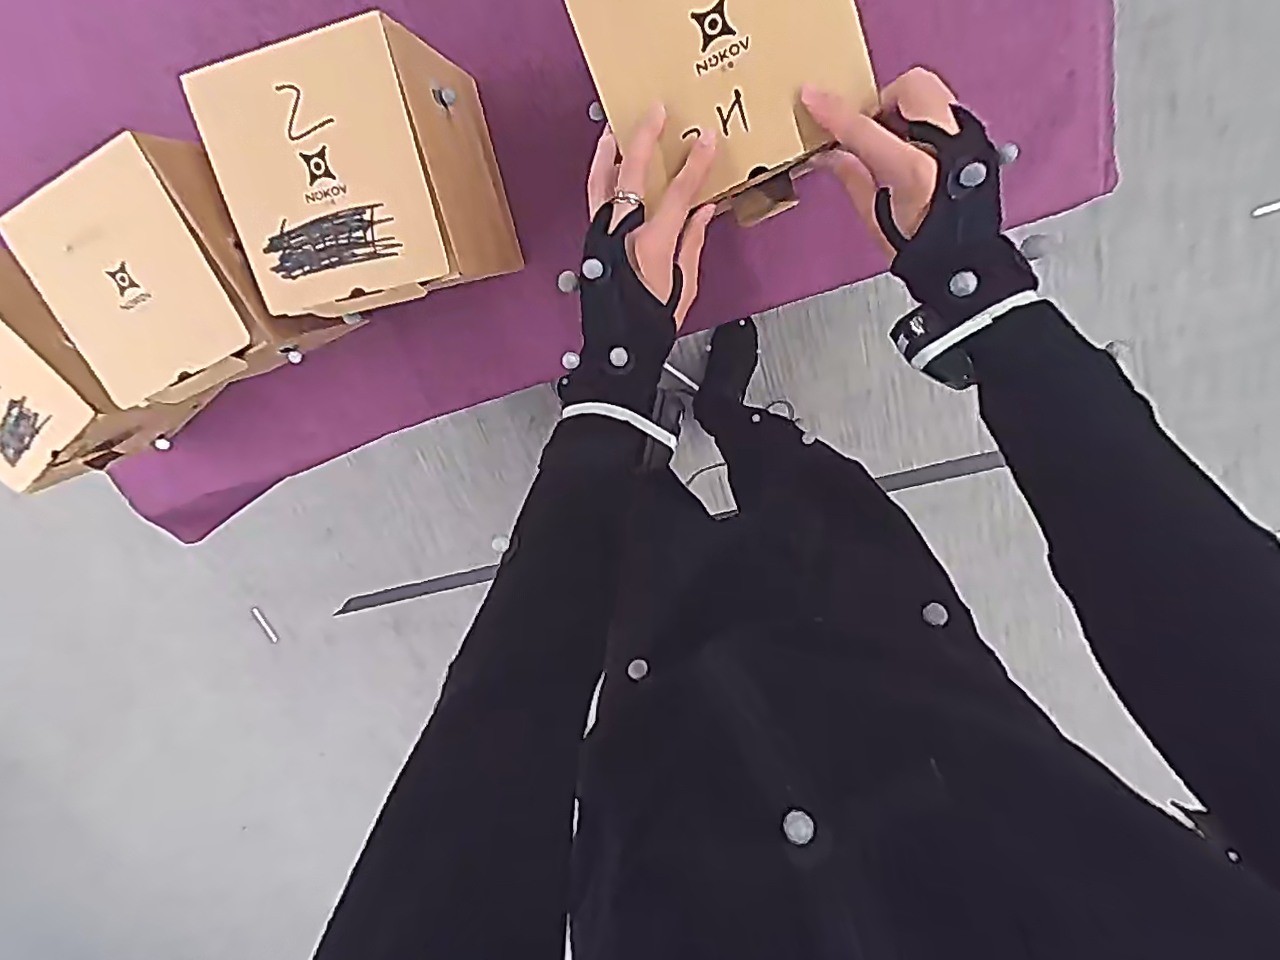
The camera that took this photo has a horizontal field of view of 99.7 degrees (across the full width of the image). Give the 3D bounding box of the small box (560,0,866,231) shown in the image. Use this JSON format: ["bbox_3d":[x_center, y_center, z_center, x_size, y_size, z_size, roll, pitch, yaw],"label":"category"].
[{"bbox_3d":[0.054,-0.315,0.425,0.168,0.176,0.179,-19,110,15],"label":"small box"}]
